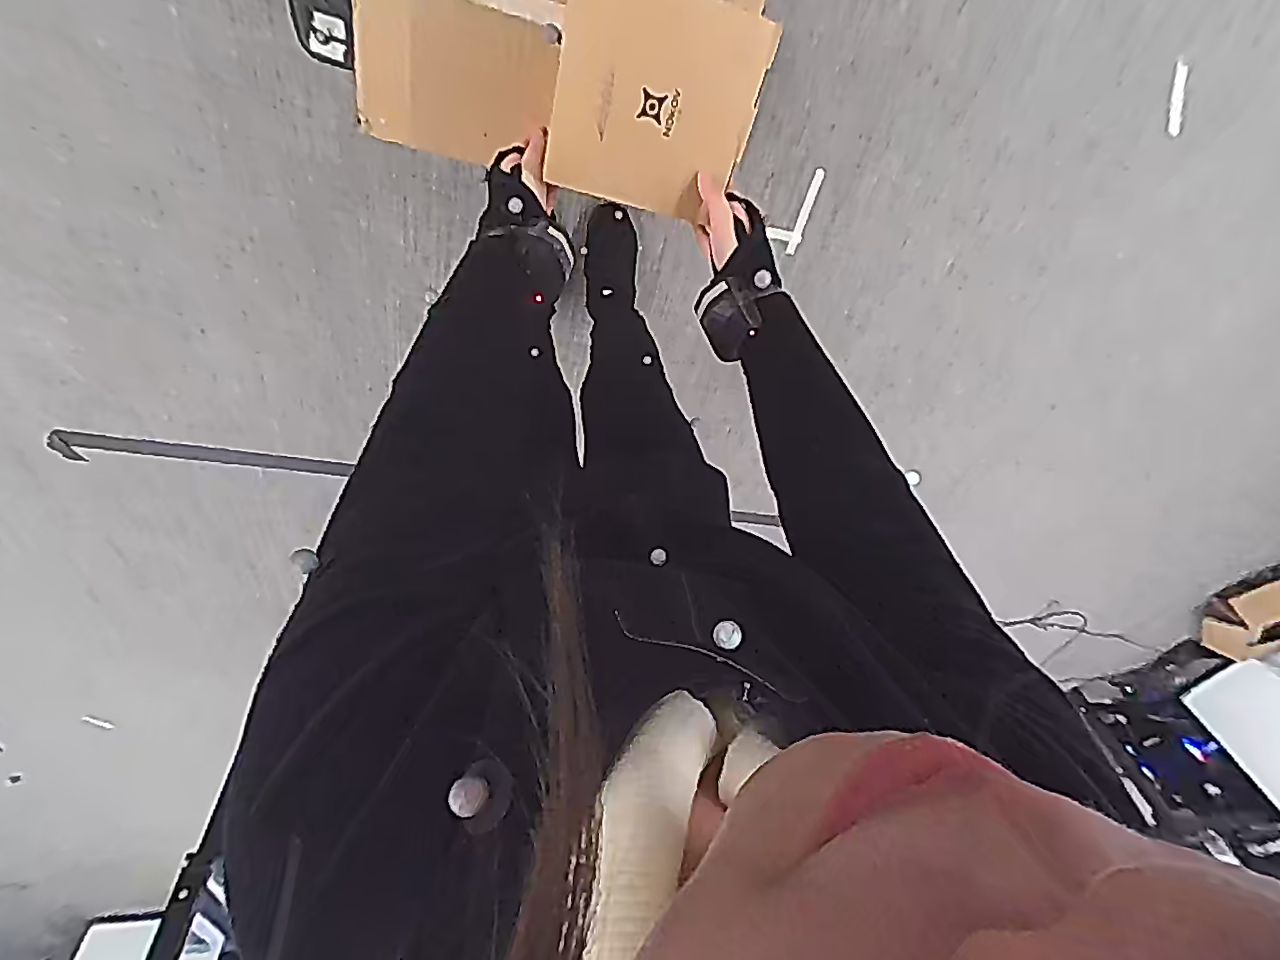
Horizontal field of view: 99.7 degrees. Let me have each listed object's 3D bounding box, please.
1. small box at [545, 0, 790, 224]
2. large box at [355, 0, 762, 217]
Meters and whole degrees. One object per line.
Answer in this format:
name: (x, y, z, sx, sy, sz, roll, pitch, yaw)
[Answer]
small box: (0.009, -0.377, 0.522, 0.179, 0.176, 0.168, 8, 130, -15)
large box: (-0.094, -0.570, 0.664, 0.408, 0.320, 0.320, 8, 129, -14)
